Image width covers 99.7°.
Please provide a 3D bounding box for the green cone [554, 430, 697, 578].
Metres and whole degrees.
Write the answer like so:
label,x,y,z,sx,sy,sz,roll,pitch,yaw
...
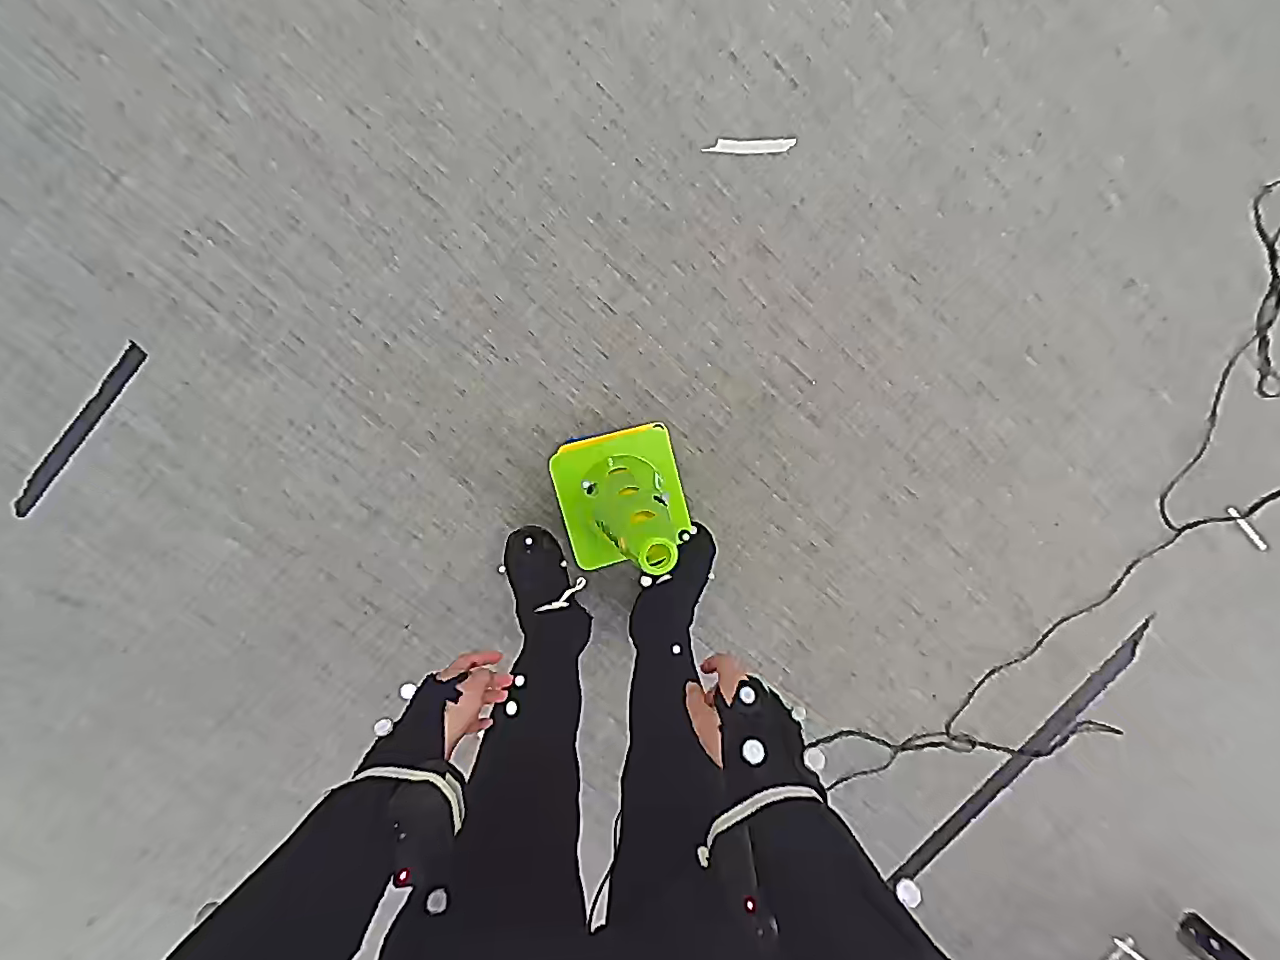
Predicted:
label,x,y,z,sx,sy,sz,roll,pitch,yaw
green cone,-0.002,0.052,0.710,0.202,0.368,0.200,-17,98,-4
